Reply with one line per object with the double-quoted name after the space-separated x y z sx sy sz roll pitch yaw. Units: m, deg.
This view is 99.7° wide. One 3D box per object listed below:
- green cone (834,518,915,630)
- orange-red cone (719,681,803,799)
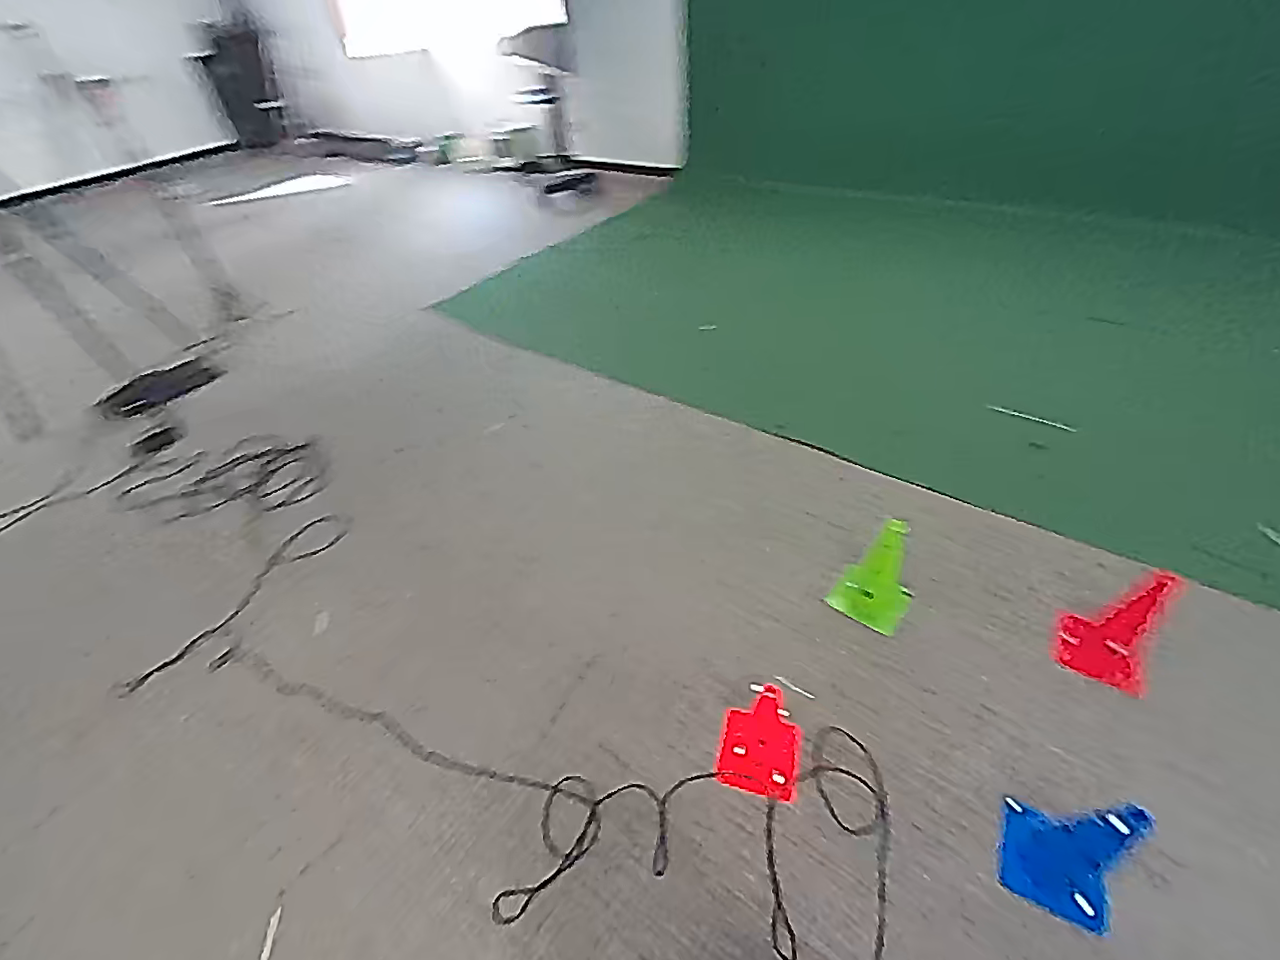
0.731 0.241 1.605 0.200 0.368 0.202 27 54 30 "green cone"
0.310 0.582 1.301 0.198 0.360 0.199 11 44 16 "orange-red cone"
